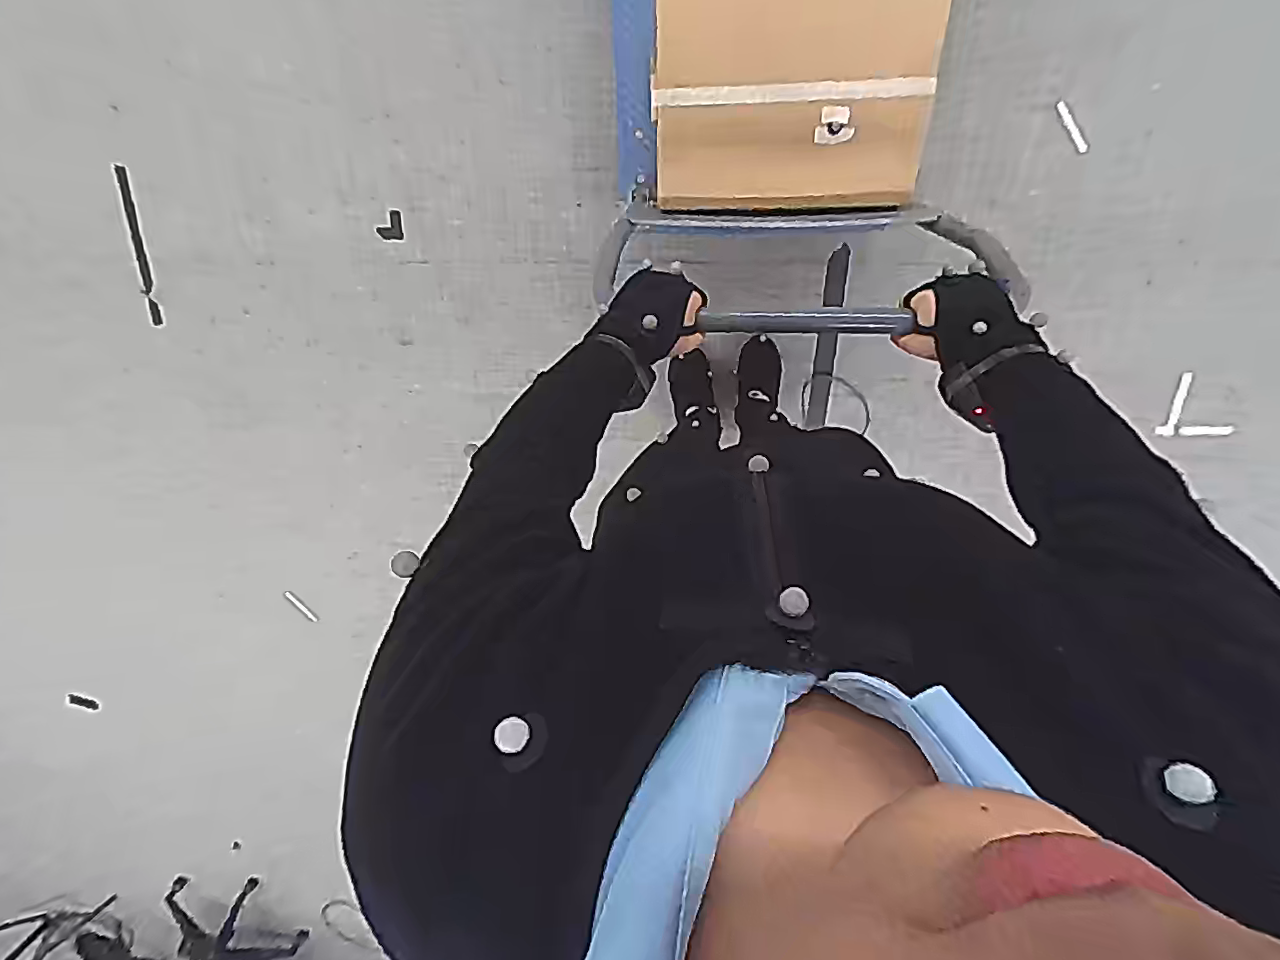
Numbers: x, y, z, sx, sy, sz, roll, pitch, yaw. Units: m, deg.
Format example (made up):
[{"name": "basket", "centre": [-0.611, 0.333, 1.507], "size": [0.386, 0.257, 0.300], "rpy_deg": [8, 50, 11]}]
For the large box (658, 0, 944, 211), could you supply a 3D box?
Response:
[{"name": "large box", "centre": [0.241, -0.659, 0.945], "size": [0.408, 0.320, 0.320], "rpy_deg": [1, 120, 5]}]
